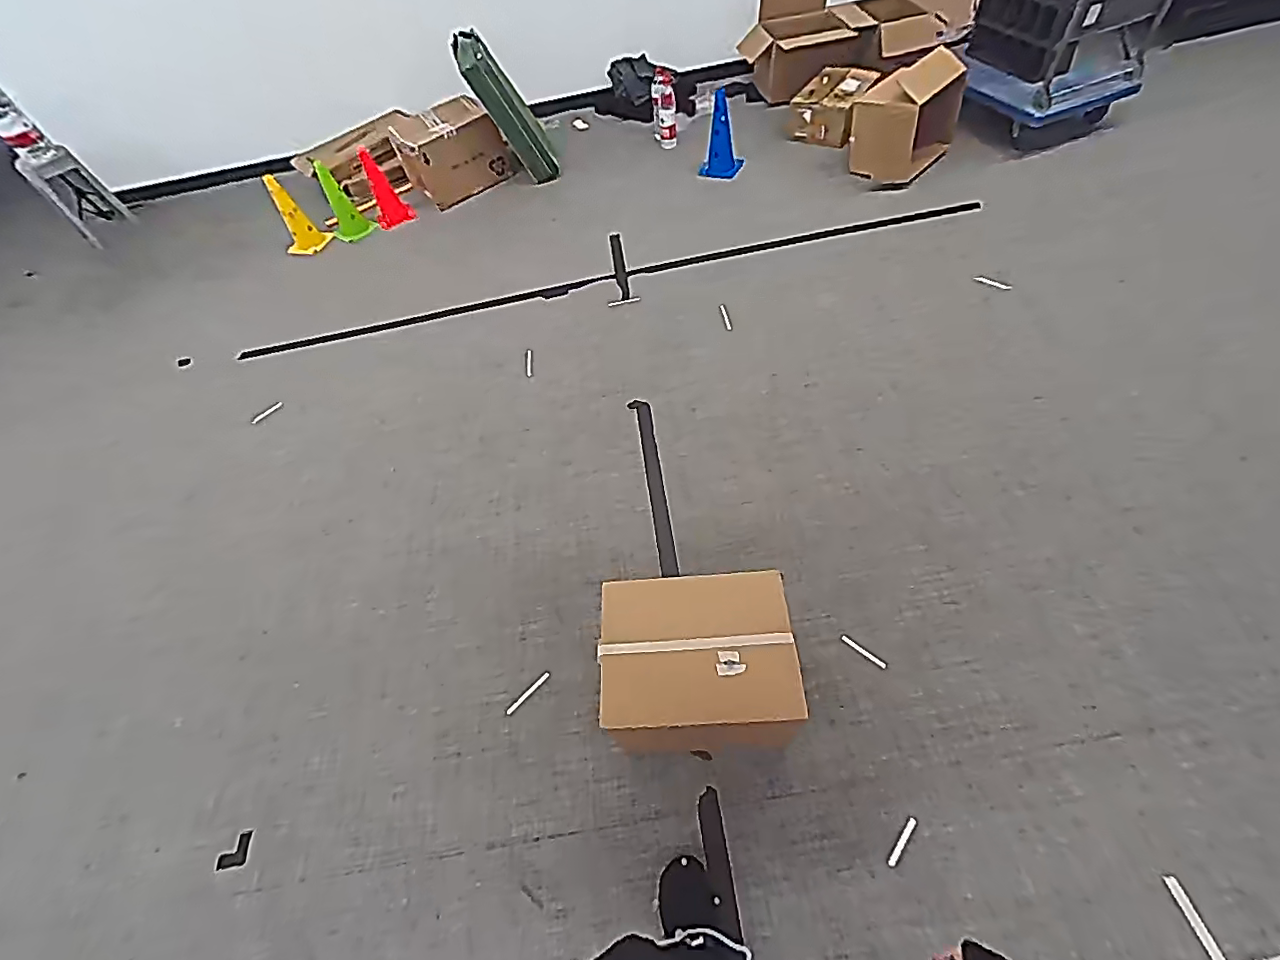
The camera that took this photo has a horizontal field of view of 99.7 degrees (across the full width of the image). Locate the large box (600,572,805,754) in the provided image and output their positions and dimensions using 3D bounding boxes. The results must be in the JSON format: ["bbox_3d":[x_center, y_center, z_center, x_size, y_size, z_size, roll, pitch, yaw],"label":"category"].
[{"bbox_3d":[0.129,0.431,1.246,0.408,0.320,0.320,-4,55,5],"label":"large box"}]
